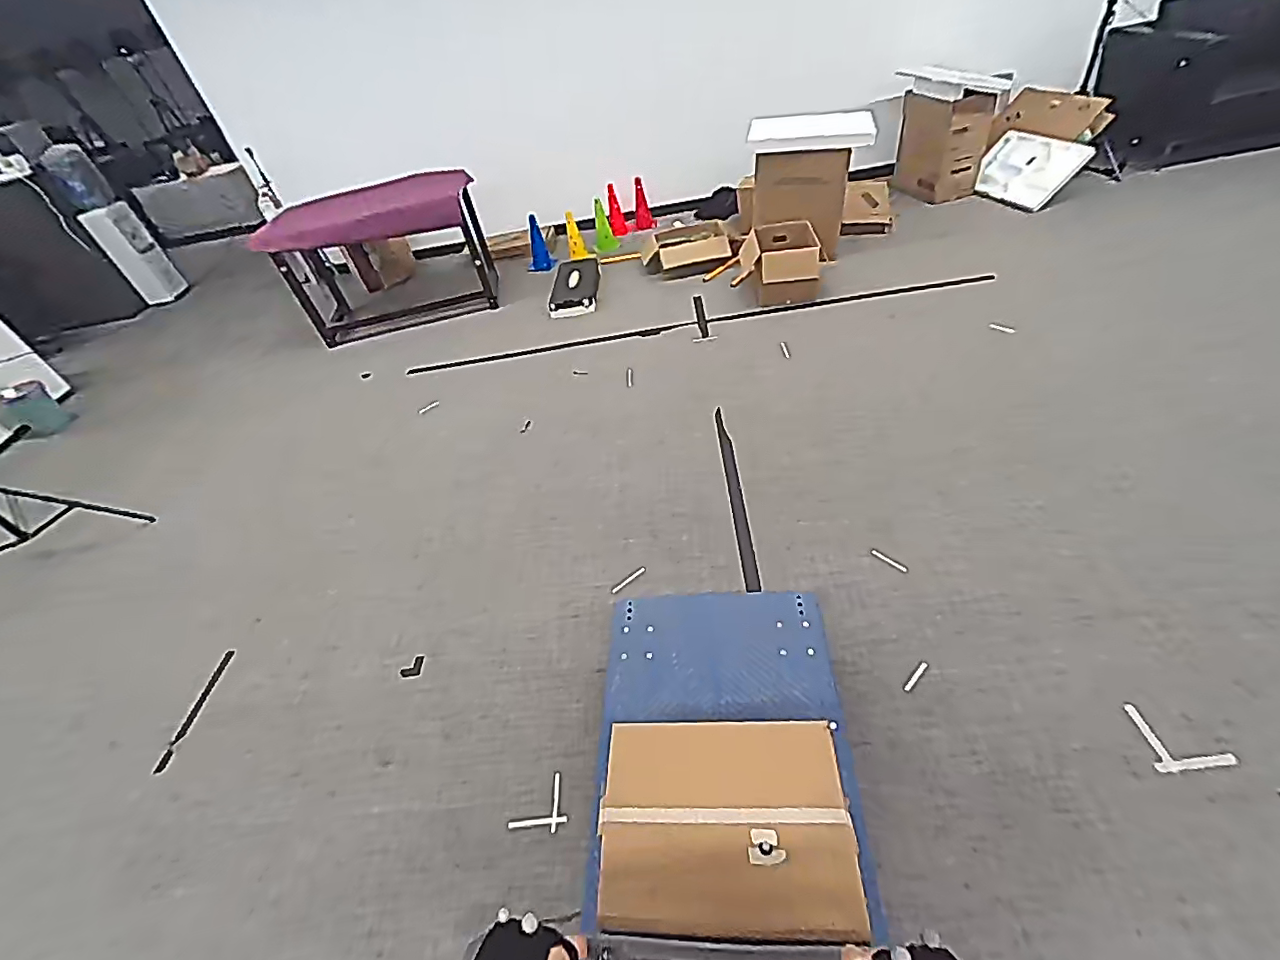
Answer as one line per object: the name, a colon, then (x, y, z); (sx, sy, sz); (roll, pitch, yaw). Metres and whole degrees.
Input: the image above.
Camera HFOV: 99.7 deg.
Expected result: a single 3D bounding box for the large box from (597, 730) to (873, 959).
large box: (0.155, 0.680, 0.982); (0.408, 0.320, 0.320); (-4, 43, 7)
